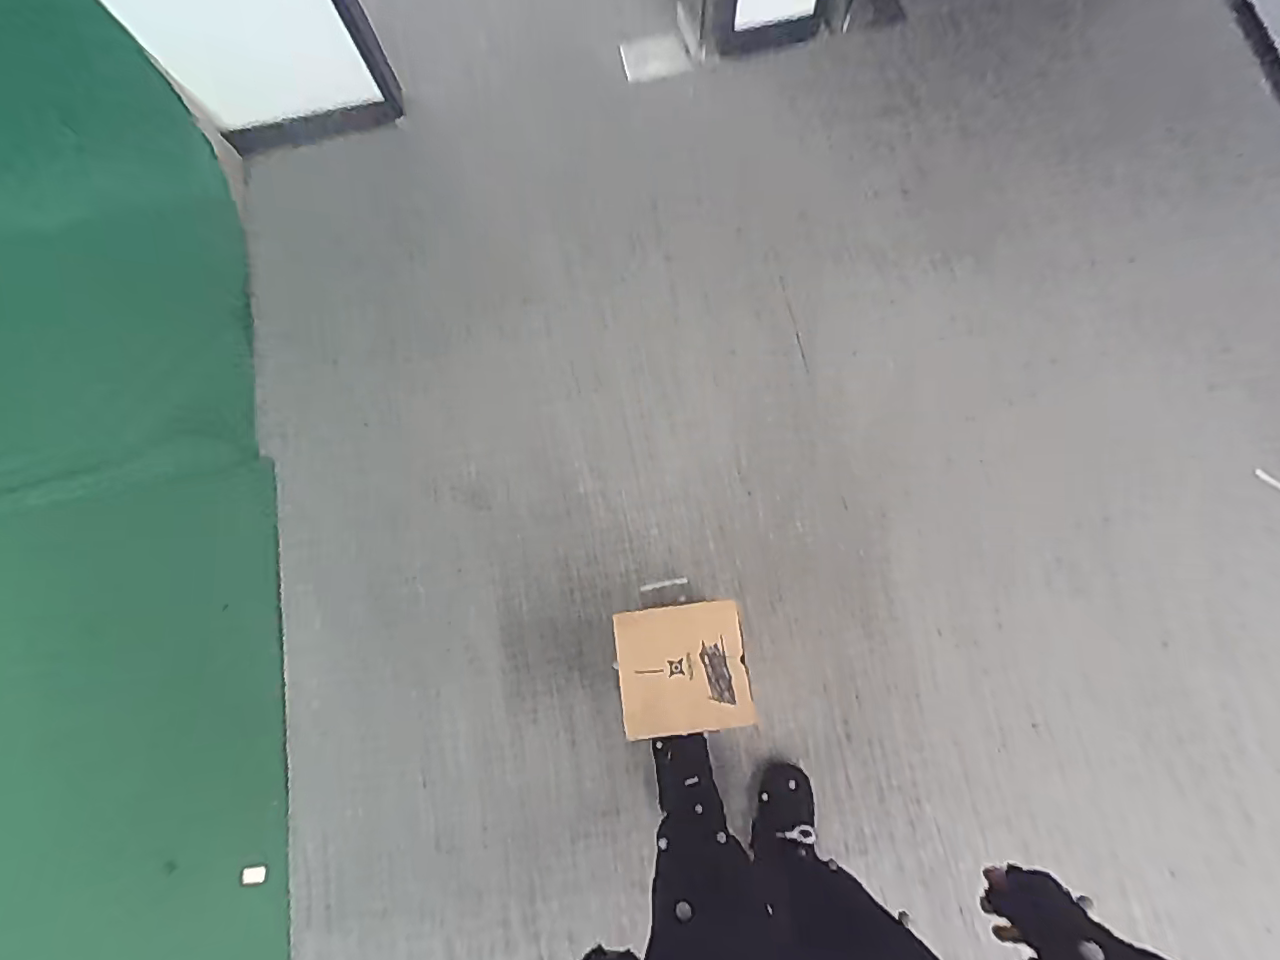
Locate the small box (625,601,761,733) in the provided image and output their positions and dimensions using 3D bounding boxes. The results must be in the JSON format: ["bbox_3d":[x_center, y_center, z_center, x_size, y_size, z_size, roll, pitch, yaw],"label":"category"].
[{"bbox_3d":[0.073,0.271,0.810,0.179,0.176,0.168,-5,74,2],"label":"small box"}]
